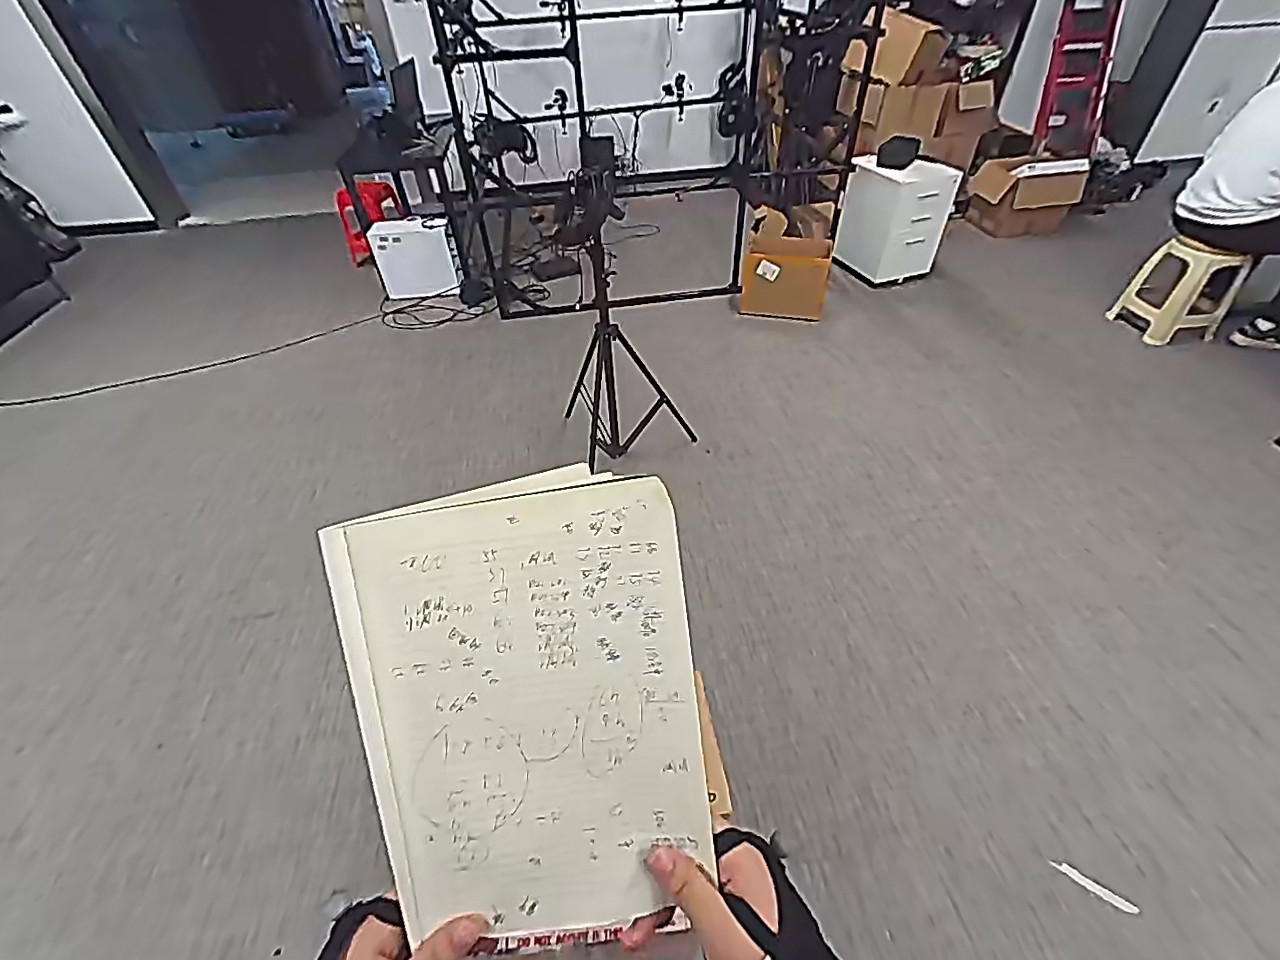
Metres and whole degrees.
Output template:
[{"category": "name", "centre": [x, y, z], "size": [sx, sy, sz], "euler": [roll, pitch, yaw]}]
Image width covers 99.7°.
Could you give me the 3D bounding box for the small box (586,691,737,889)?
[{"category": "small box", "centre": [0.018, 0.411, 0.720], "size": [0.168, 0.176, 0.179], "euler": [-6, 44, -6]}]

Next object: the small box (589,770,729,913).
[{"category": "small box", "centre": [0.022, 0.534, 0.829], "size": [0.179, 0.176, 0.168], "euler": [-8, 45, -7]}]
